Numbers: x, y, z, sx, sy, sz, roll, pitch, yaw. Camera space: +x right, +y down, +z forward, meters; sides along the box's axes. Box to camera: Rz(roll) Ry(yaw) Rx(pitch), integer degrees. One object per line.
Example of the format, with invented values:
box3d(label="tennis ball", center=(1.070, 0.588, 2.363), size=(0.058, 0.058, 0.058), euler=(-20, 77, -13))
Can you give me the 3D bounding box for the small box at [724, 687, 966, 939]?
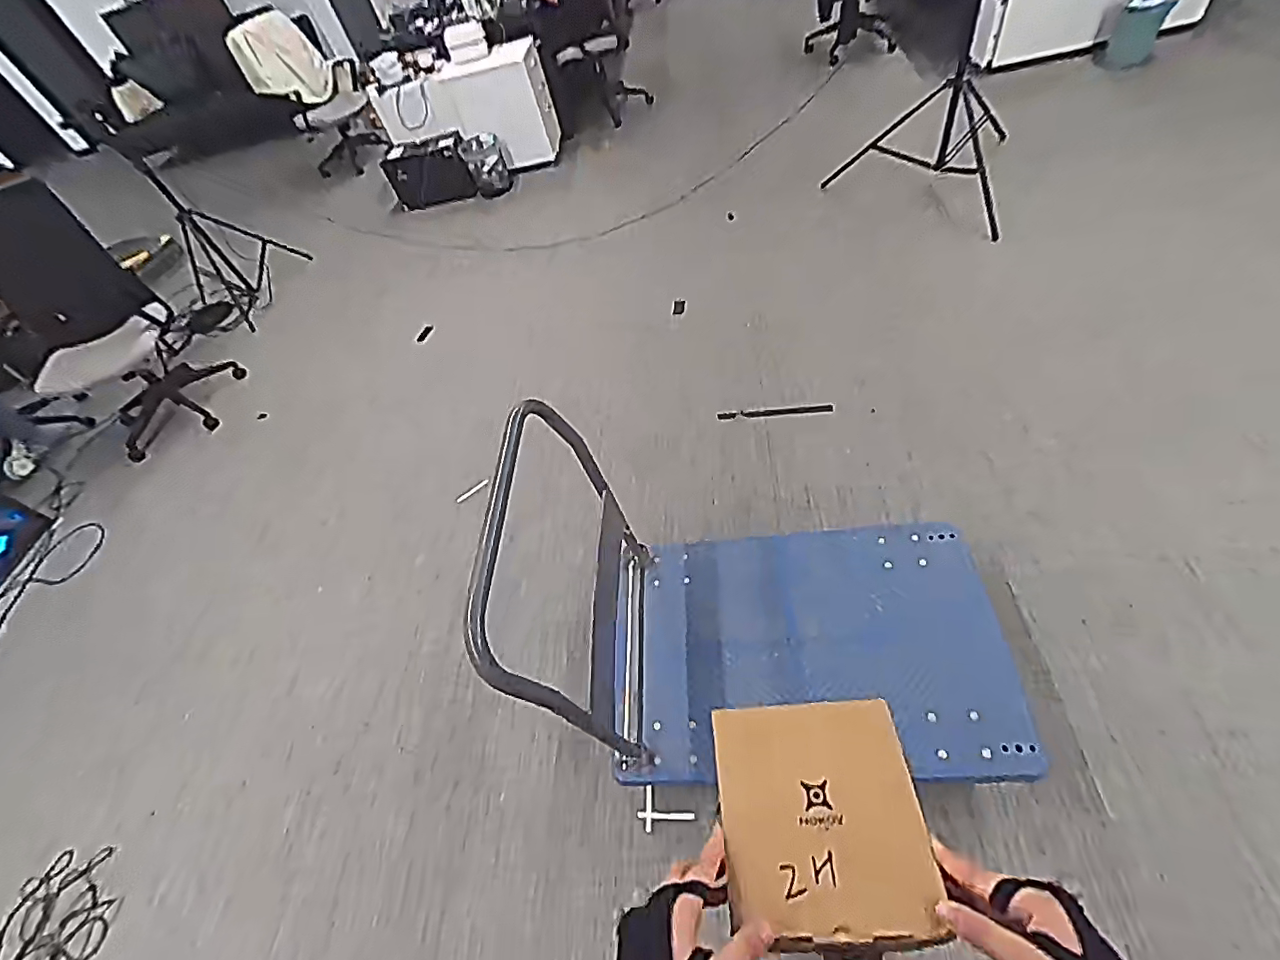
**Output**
box3d(label="small box", center=(0.172, 0.320, 0.518), size=(0.168, 0.176, 0.179), euler=(-7, 47, 7))
